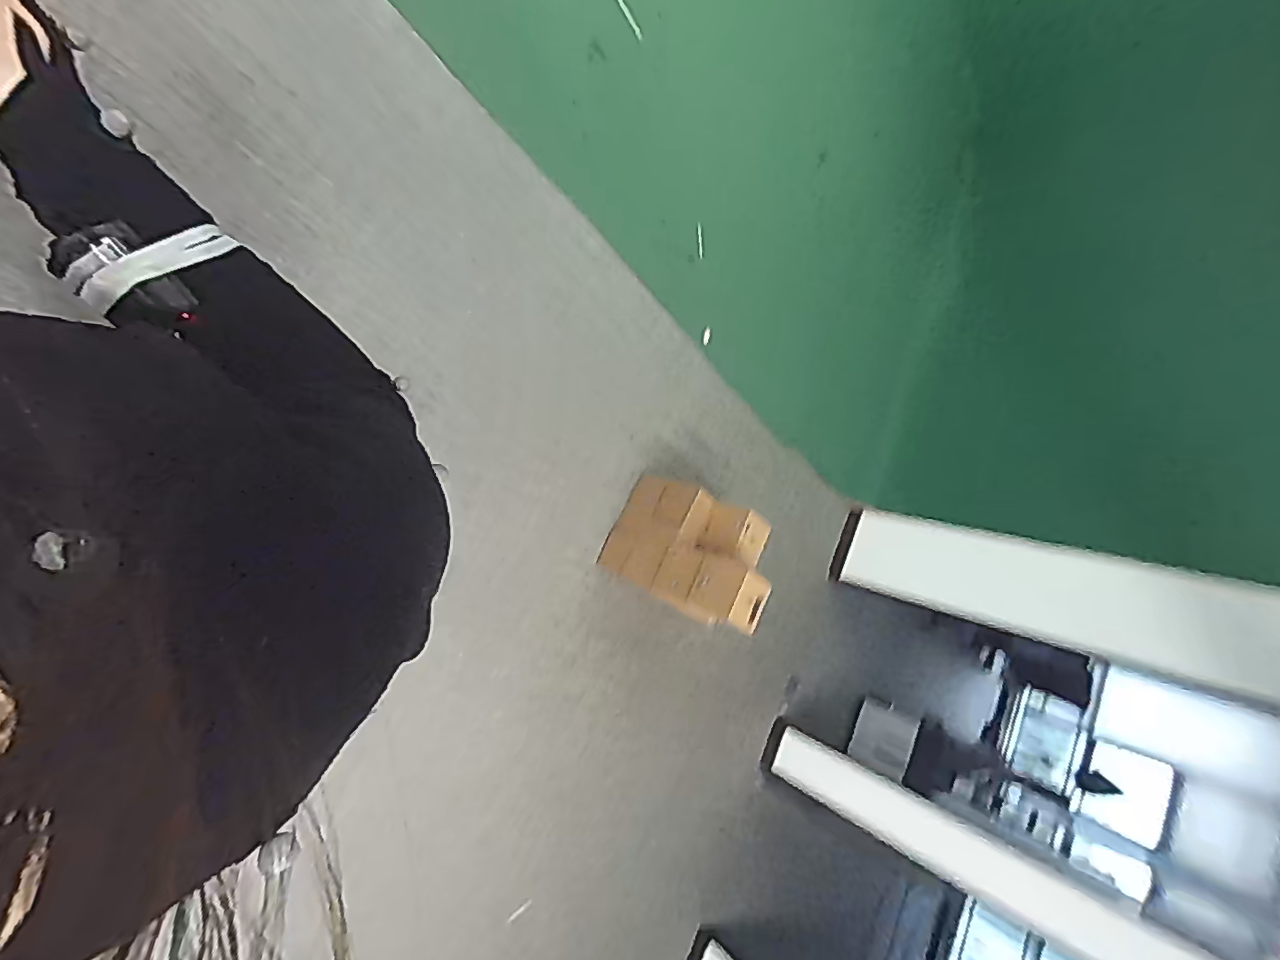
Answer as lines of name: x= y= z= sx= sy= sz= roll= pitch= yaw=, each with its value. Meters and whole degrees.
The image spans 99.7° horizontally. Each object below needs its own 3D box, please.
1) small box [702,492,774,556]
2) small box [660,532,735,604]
small box: x=0.361 y=0.157 z=1.996 sx=0.179 sy=0.176 sz=0.168 roll=37 pitch=73 yaw=-45
small box: x=0.193 y=0.302 z=1.863 sx=0.168 sy=0.176 sz=0.179 roll=36 pitch=74 yaw=-44
